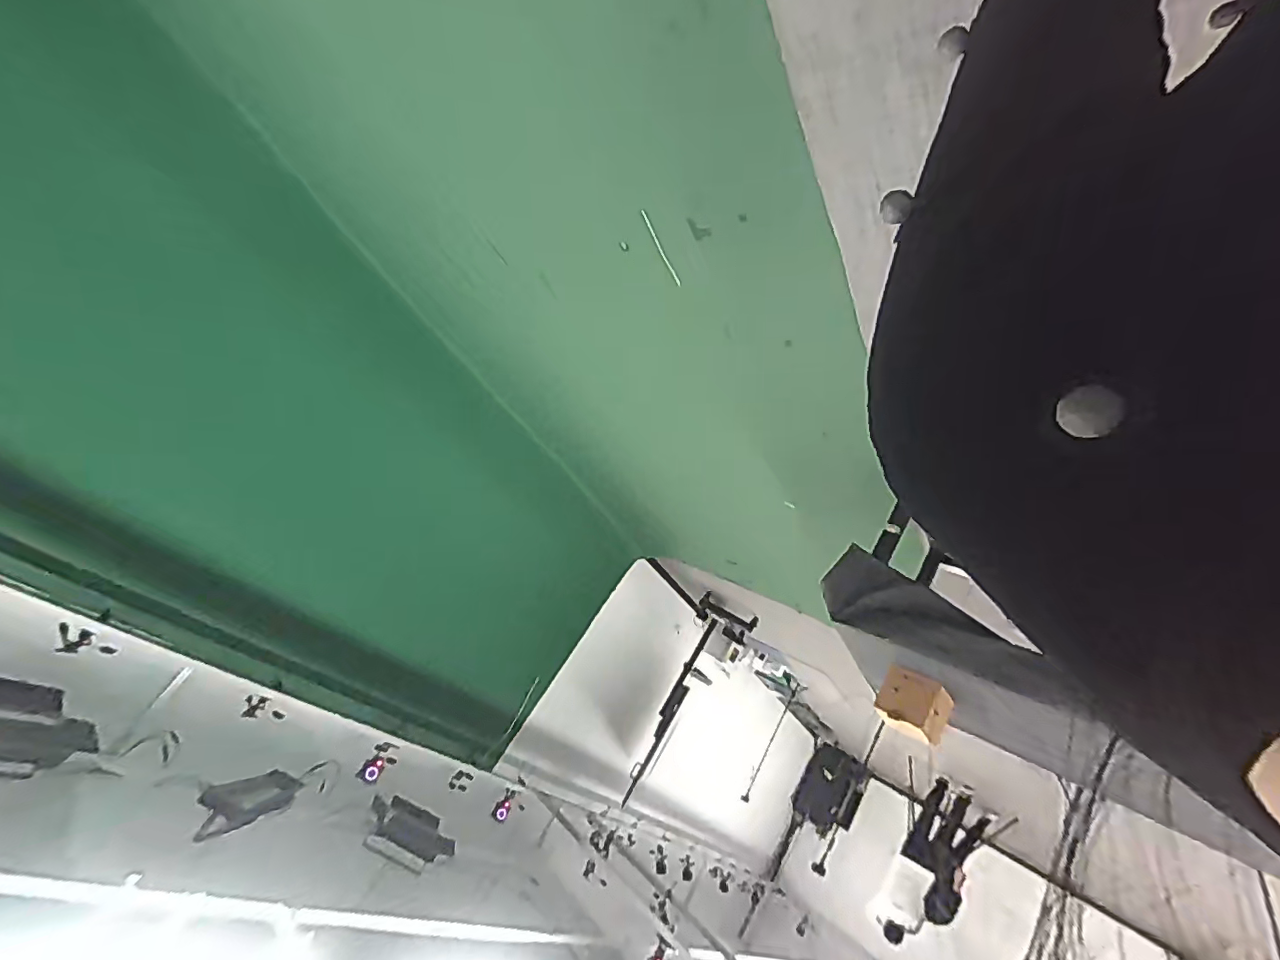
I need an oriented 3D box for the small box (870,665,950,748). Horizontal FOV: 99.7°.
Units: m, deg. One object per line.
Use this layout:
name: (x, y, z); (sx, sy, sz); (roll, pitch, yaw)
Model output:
small box: (0.903, 0.749, 1.805); (0.168, 0.176, 0.179); (12, 152, 51)
